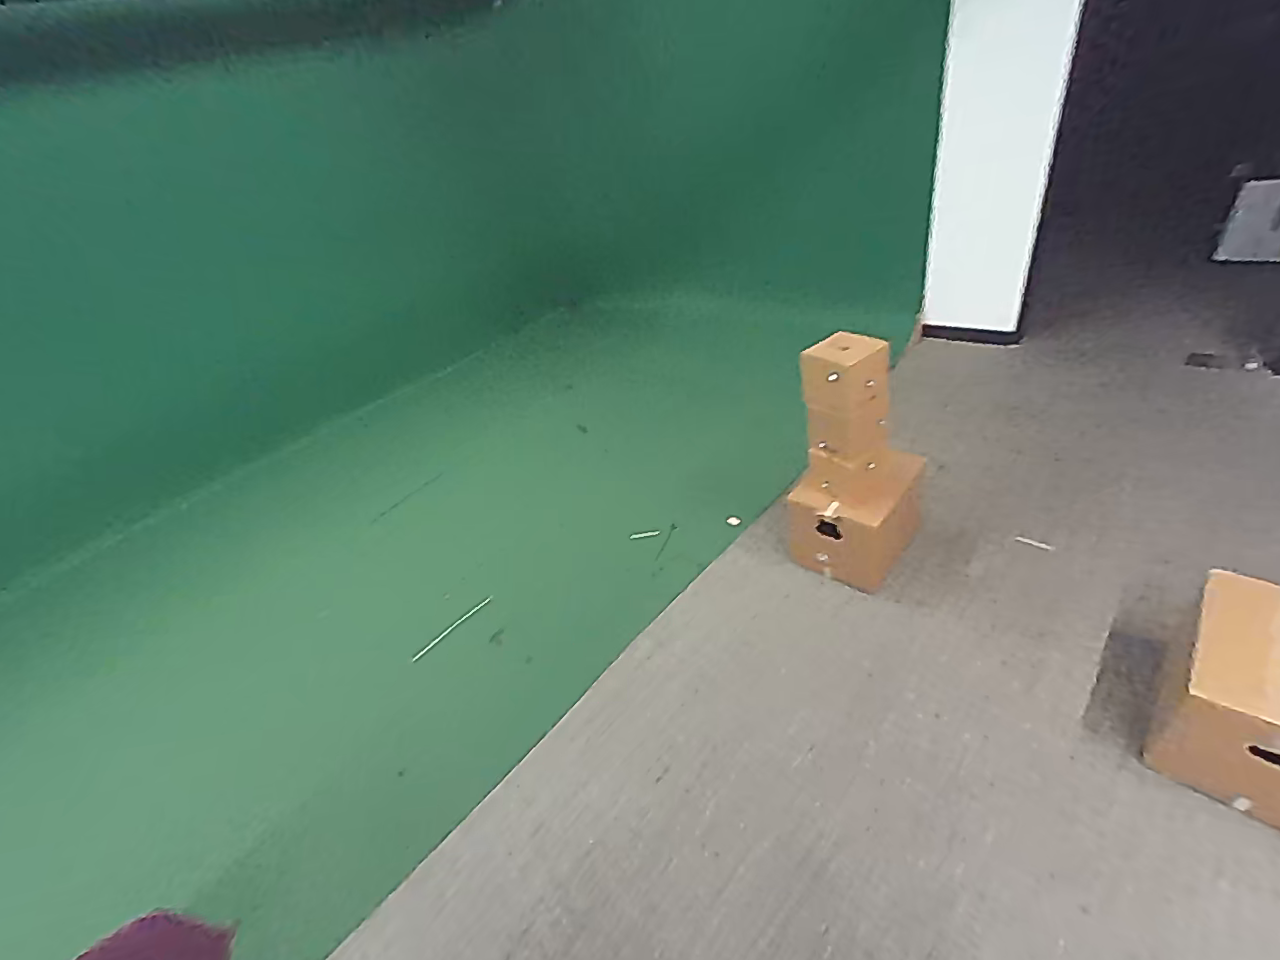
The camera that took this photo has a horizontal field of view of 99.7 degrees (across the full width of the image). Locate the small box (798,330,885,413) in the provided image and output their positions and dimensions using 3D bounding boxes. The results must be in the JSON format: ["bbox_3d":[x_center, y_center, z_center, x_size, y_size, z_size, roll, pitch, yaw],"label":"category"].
[{"bbox_3d":[0.591,-0.317,1.587,0.168,0.176,0.179,-30,37,-19],"label":"small box"}]

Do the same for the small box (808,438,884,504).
[{"bbox_3d":[0.667,-0.054,1.765,0.179,0.176,0.168,-33,39,-22],"label":"small box"}]

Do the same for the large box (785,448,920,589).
[{"bbox_3d":[0.756,0.110,1.930,0.320,0.320,0.408,21,48,39],"label":"large box"}]

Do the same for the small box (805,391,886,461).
[{"bbox_3d":[0.636,-0.188,1.679,0.179,0.176,0.168,-31,38,-19],"label":"small box"}]
